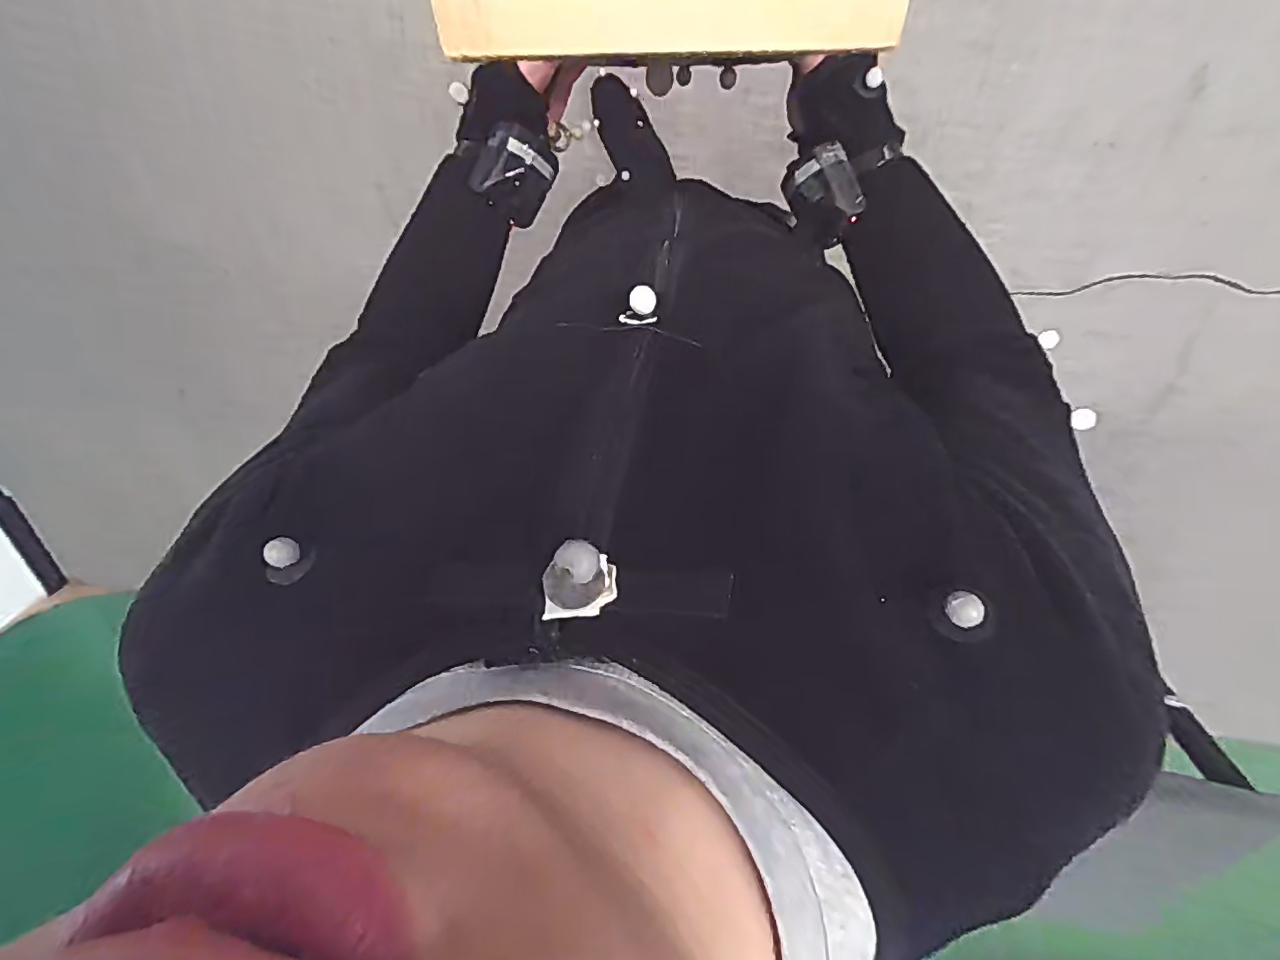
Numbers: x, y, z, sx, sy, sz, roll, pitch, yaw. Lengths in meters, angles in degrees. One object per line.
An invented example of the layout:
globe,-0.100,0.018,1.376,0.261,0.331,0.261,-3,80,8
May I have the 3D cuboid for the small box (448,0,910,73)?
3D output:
small box,0.017,-0.271,0.212,0.168,0.176,0.179,2,128,4
